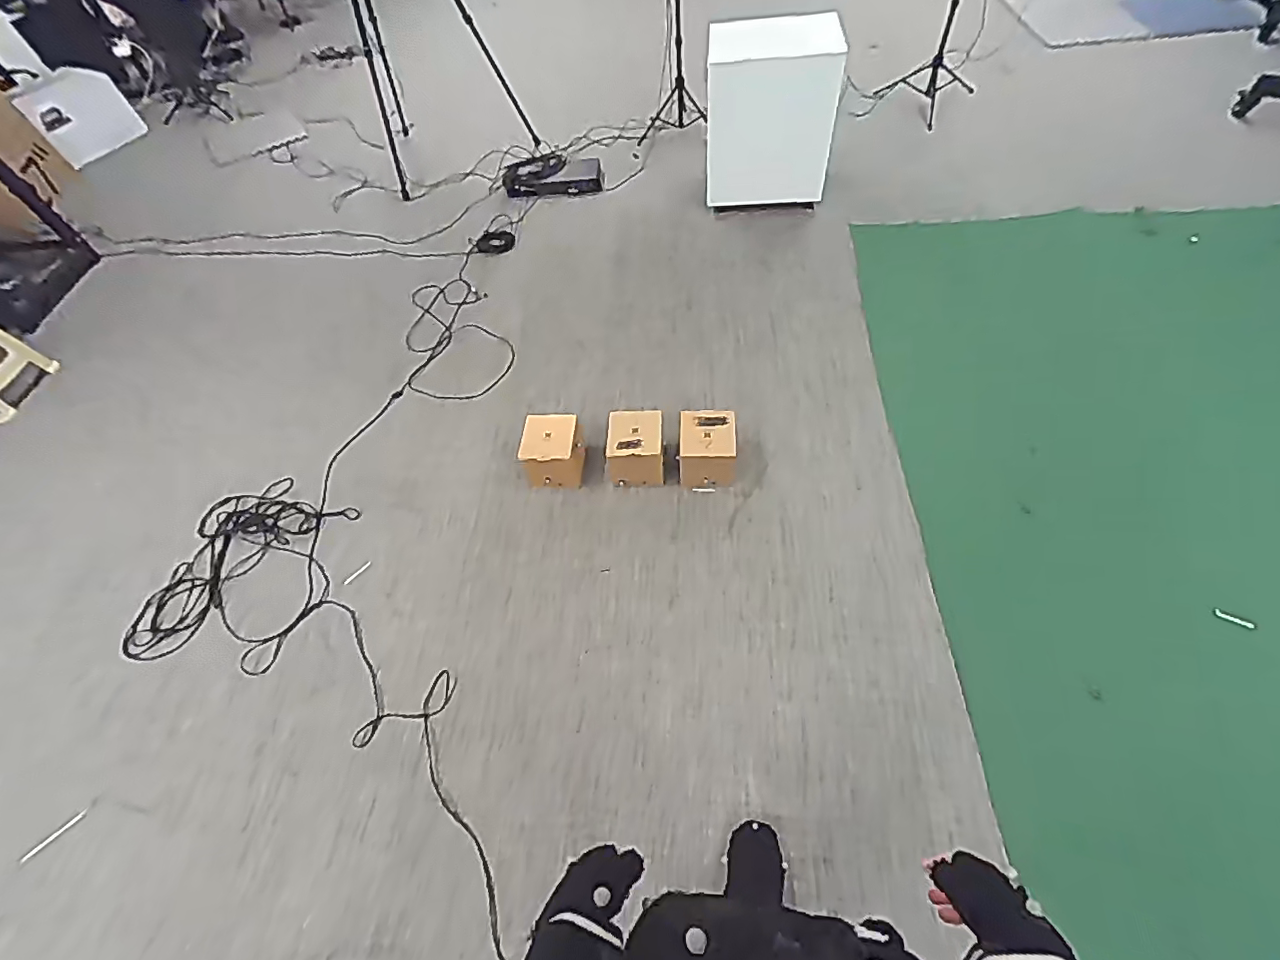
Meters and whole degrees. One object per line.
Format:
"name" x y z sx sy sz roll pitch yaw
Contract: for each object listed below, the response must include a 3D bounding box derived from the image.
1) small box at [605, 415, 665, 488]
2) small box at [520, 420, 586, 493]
"small box" -0.010 -0.085 1.720 0.168 0.176 0.179 -1 55 7
"small box" -0.274 -0.076 1.750 0.168 0.176 0.179 -1 56 7
